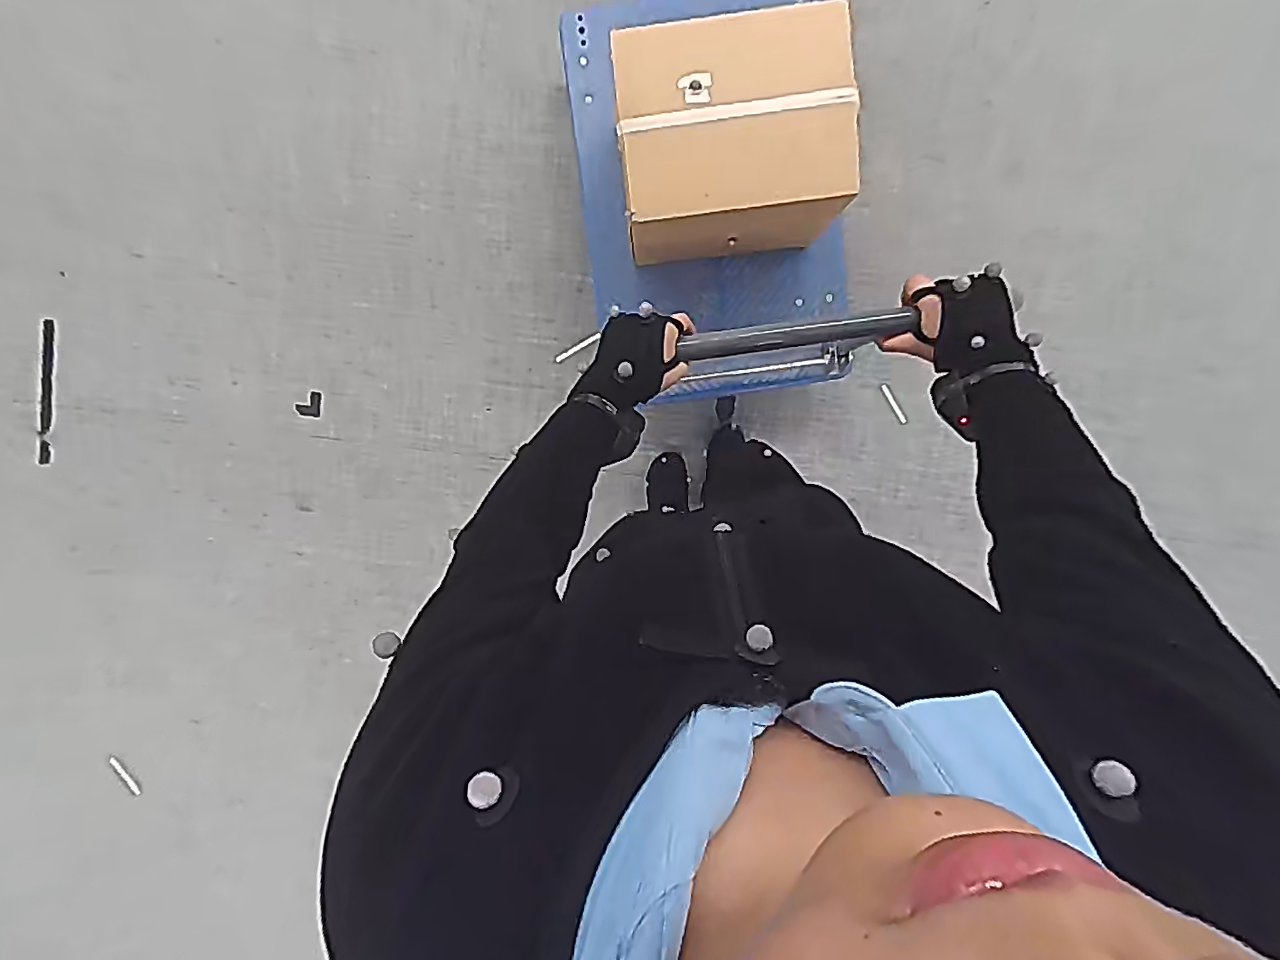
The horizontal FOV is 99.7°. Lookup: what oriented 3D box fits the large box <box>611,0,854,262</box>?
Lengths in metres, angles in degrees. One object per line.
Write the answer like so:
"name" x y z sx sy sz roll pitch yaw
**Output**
"large box" 0.171 -0.661 1.095 0.408 0.320 0.320 -7 97 3
